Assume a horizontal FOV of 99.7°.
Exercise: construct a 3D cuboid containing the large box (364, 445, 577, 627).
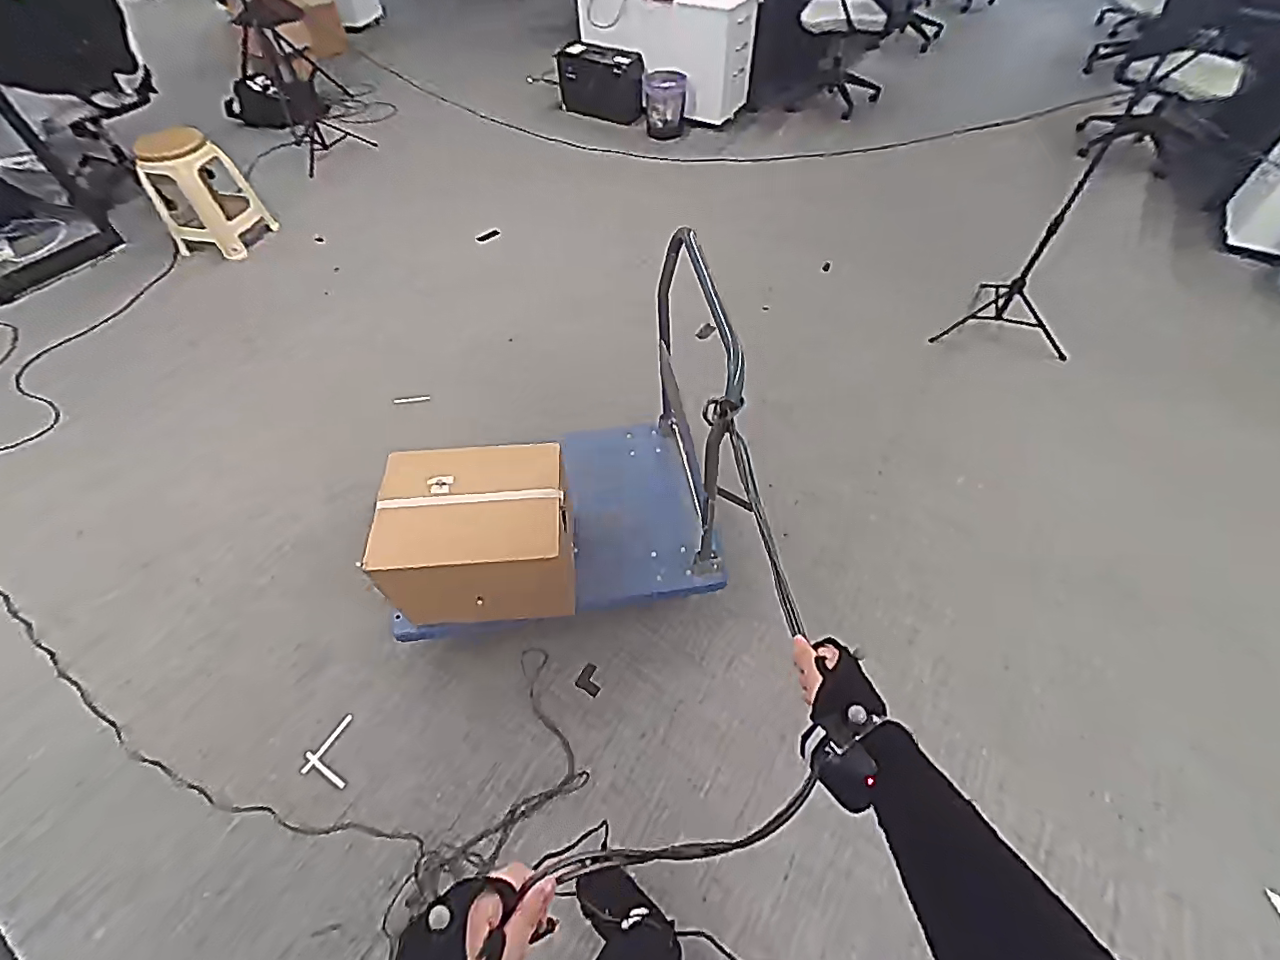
[{"bbox_3d":[-0.370,0.143,1.306,0.408,0.320,0.320,-4,53,-2],"label":"large box"}]
